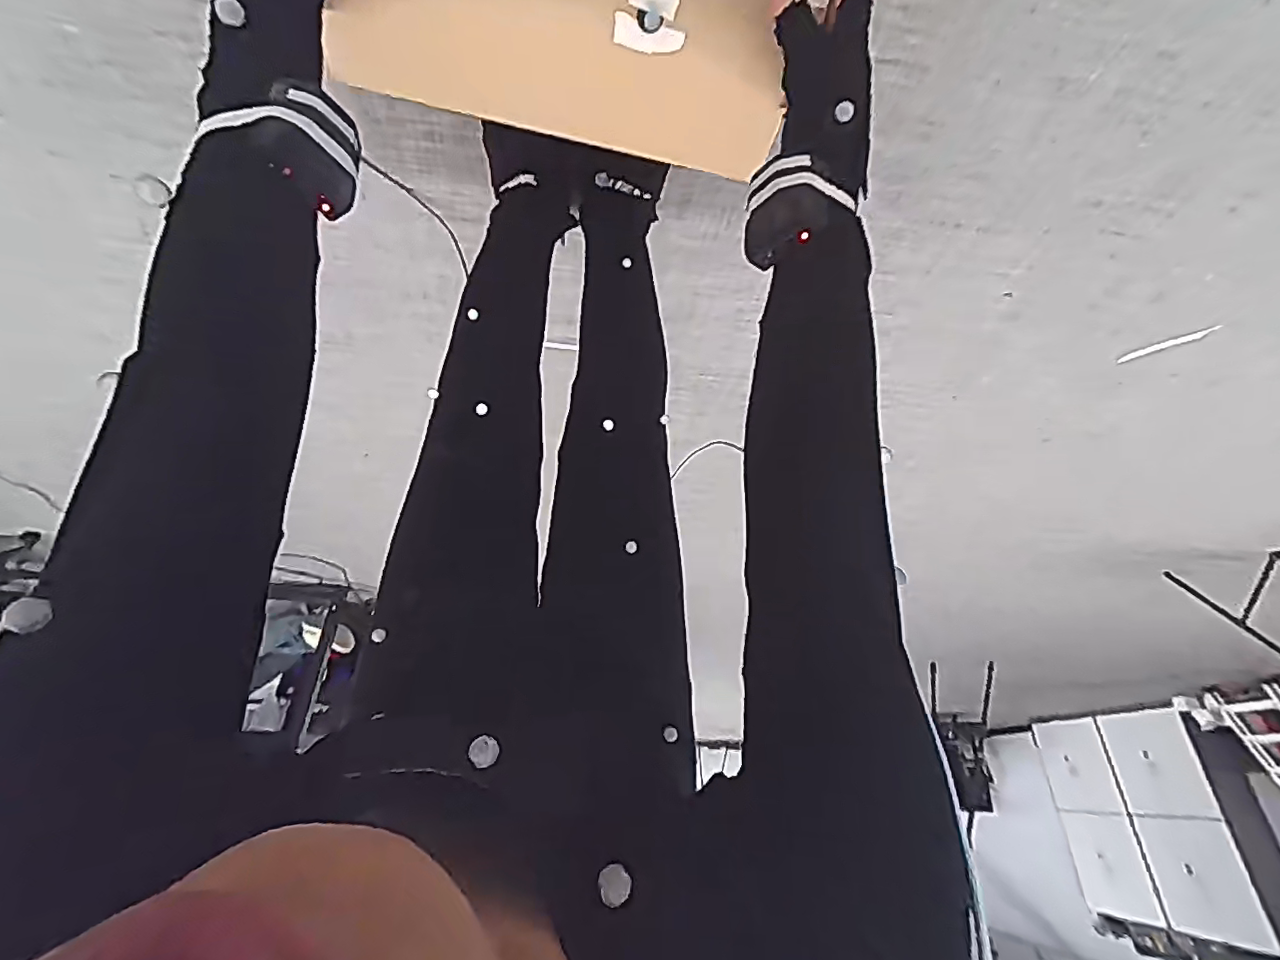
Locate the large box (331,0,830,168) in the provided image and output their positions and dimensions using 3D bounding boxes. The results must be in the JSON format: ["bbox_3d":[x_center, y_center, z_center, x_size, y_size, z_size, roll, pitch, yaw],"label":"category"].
[{"bbox_3d":[-0.038,-0.540,0.471,0.408,0.320,0.320,7,148,-9],"label":"large box"}]
